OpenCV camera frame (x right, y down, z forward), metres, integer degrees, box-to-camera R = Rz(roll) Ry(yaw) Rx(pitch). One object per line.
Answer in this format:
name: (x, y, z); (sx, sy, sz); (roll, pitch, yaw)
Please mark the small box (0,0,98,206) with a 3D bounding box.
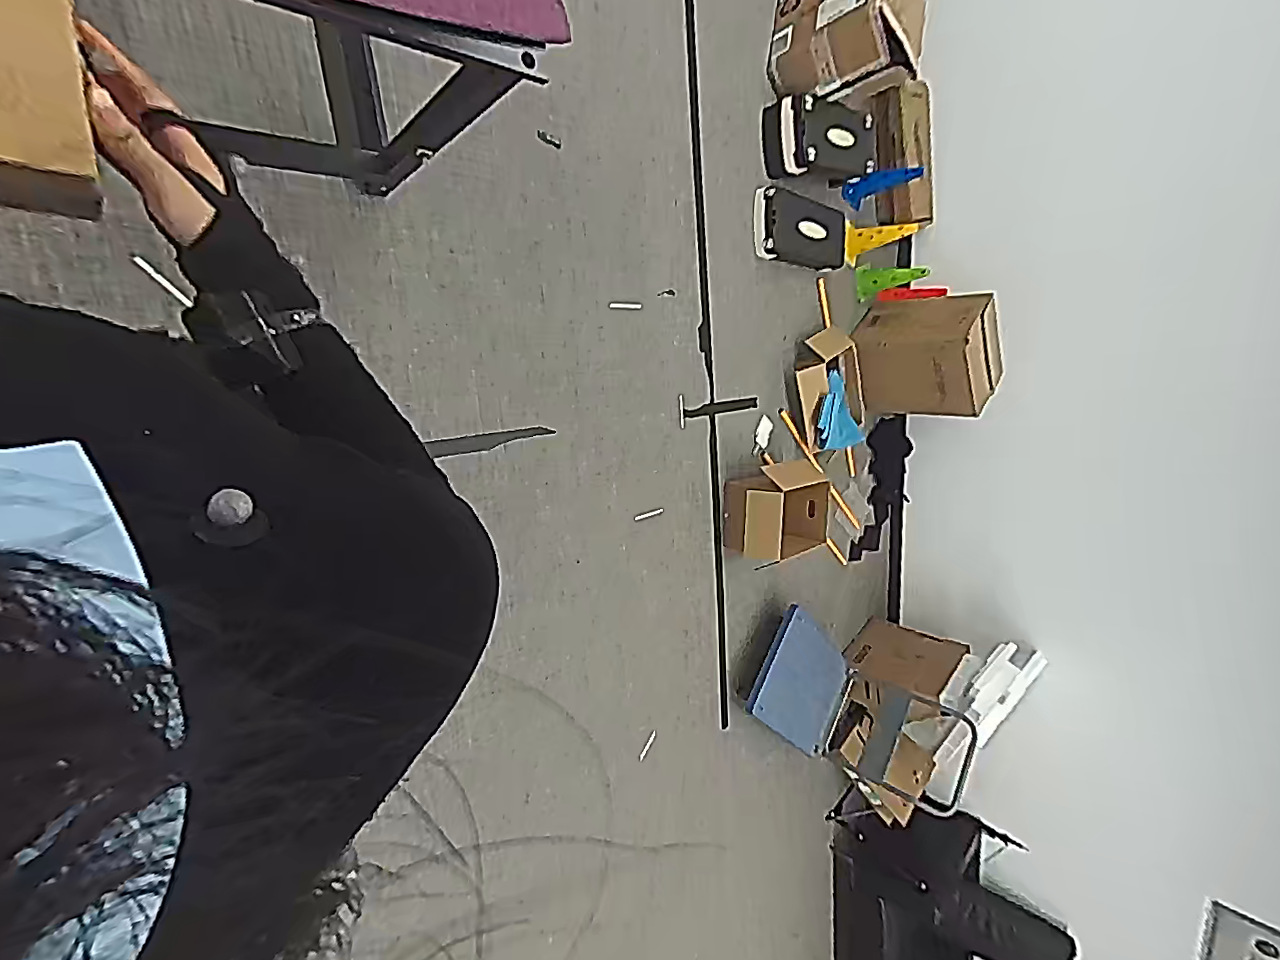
small box: (-0.421, -0.269, 0.294); (0.168, 0.176, 0.179); (-8, 105, -44)
